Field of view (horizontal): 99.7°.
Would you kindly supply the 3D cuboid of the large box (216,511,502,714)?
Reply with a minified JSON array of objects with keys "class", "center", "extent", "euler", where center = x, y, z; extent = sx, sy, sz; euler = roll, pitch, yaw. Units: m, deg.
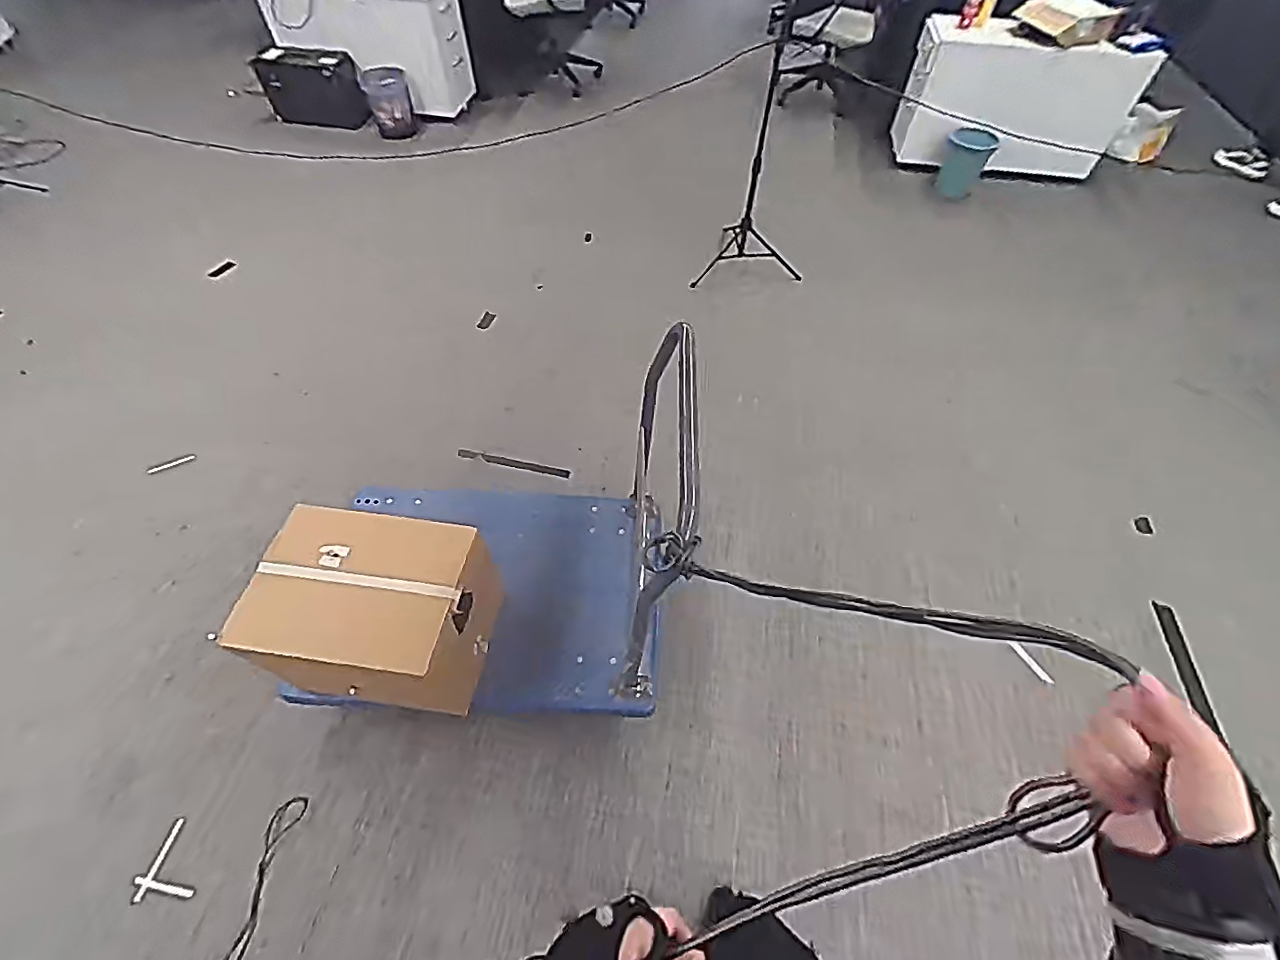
[{"class":"large box","center":[-0.557,0.295,1.174],"extent":[0.408,0.320,0.320],"euler":[7,54,4]}]
